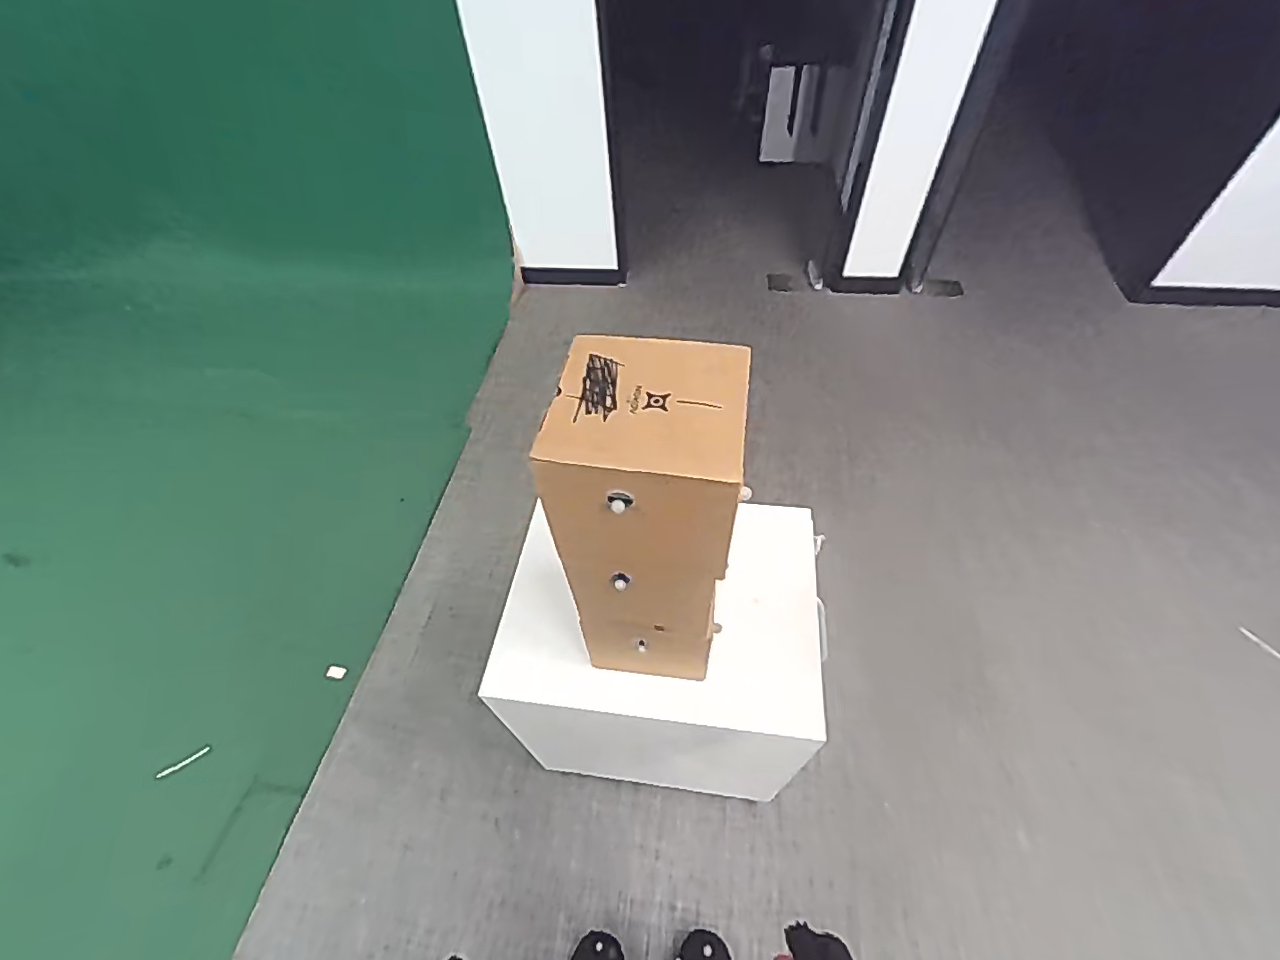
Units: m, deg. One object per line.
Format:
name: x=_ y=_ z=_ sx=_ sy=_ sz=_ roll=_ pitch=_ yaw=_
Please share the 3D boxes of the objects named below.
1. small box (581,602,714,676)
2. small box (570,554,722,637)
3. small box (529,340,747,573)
small box: x=0.021 y=0.180 z=0.810 sx=0.179 sy=0.176 sz=0.168 roll=5 pitch=53 yaw=6
small box: x=0.016 y=0.078 z=0.686 sx=0.168 sy=0.176 sz=0.179 roll=4 pitch=53 yaw=5
small box: x=0.009 y=-0.020 z=0.551 sx=0.179 sy=0.176 sz=0.168 roll=6 pitch=53 yaw=8
